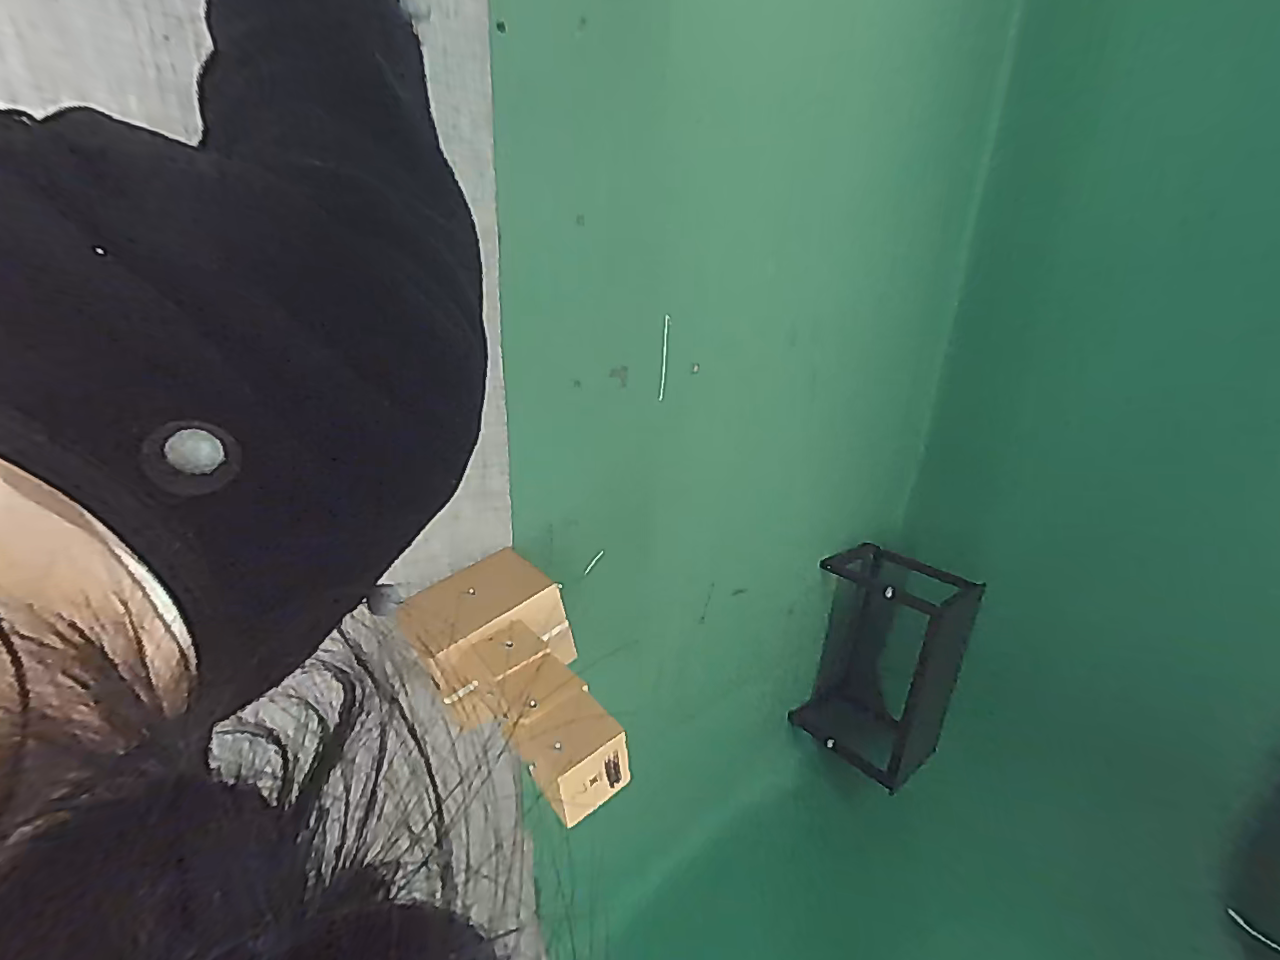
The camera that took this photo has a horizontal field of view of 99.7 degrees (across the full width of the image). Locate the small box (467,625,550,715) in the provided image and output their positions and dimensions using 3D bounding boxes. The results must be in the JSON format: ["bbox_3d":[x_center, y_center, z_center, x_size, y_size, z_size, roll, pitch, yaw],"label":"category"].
[{"bbox_3d":[-0.351,0.520,1.474,0.168,0.176,0.179,-23,120,-34],"label":"small box"}]

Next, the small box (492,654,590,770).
[{"bbox_3d":[-0.248,0.572,1.360,0.179,0.176,0.168,-21,119,-35],"label":"small box"}]

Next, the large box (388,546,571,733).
[{"bbox_3d":[-0.488,0.469,1.676,0.408,0.320,0.320,-30,125,-33],"label":"large box"}]
